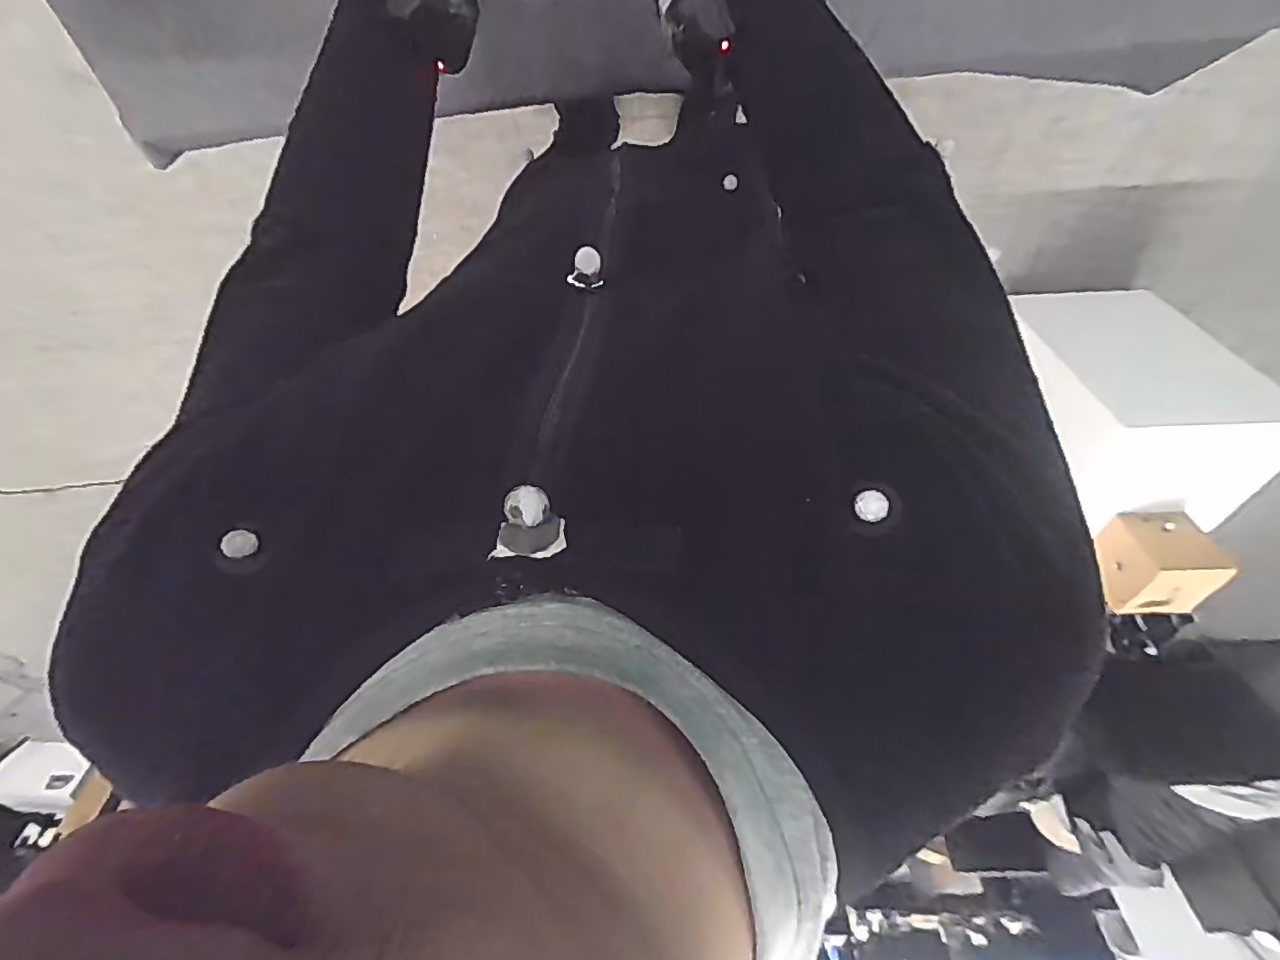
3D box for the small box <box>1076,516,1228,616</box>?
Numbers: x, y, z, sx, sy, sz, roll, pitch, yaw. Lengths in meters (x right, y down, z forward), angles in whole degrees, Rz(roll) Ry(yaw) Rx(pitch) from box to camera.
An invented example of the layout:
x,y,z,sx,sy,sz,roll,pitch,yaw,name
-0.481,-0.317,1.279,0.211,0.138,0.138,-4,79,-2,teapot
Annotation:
x,y,z,sx,sy,sz,roll,pitch,yaw,name
1.189,0.203,1.280,0.168,0.176,0.179,-2,134,1,small box
